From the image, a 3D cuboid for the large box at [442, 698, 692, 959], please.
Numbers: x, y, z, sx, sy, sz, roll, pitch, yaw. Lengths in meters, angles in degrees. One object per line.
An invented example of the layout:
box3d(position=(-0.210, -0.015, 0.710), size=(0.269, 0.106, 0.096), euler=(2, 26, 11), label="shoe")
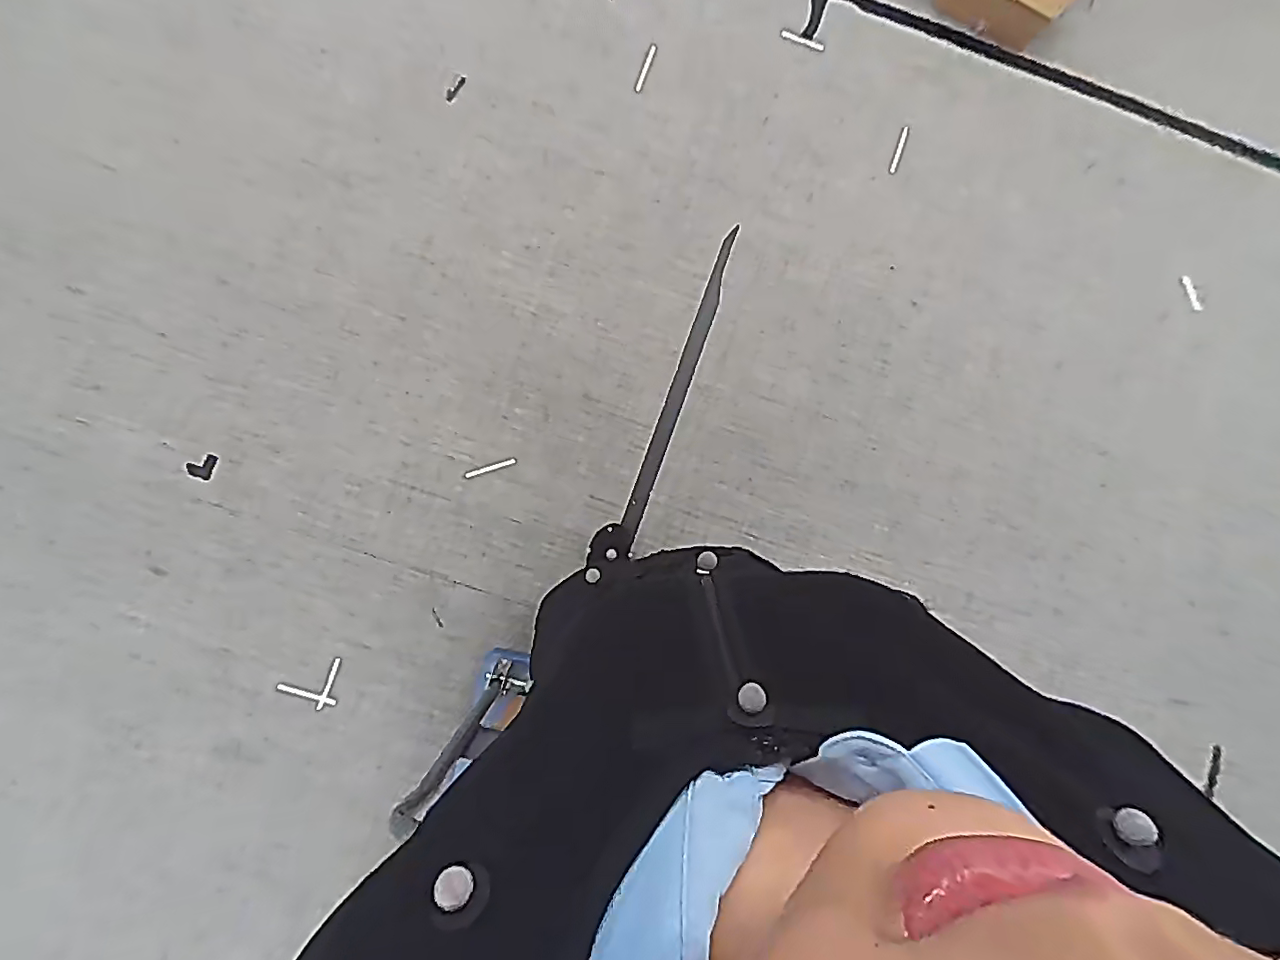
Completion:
box3d(position=(-0.133, 0.698, 1.133), size=(0.408, 0.320, 0.320), euler=(15, 84, -1), label="large box")
